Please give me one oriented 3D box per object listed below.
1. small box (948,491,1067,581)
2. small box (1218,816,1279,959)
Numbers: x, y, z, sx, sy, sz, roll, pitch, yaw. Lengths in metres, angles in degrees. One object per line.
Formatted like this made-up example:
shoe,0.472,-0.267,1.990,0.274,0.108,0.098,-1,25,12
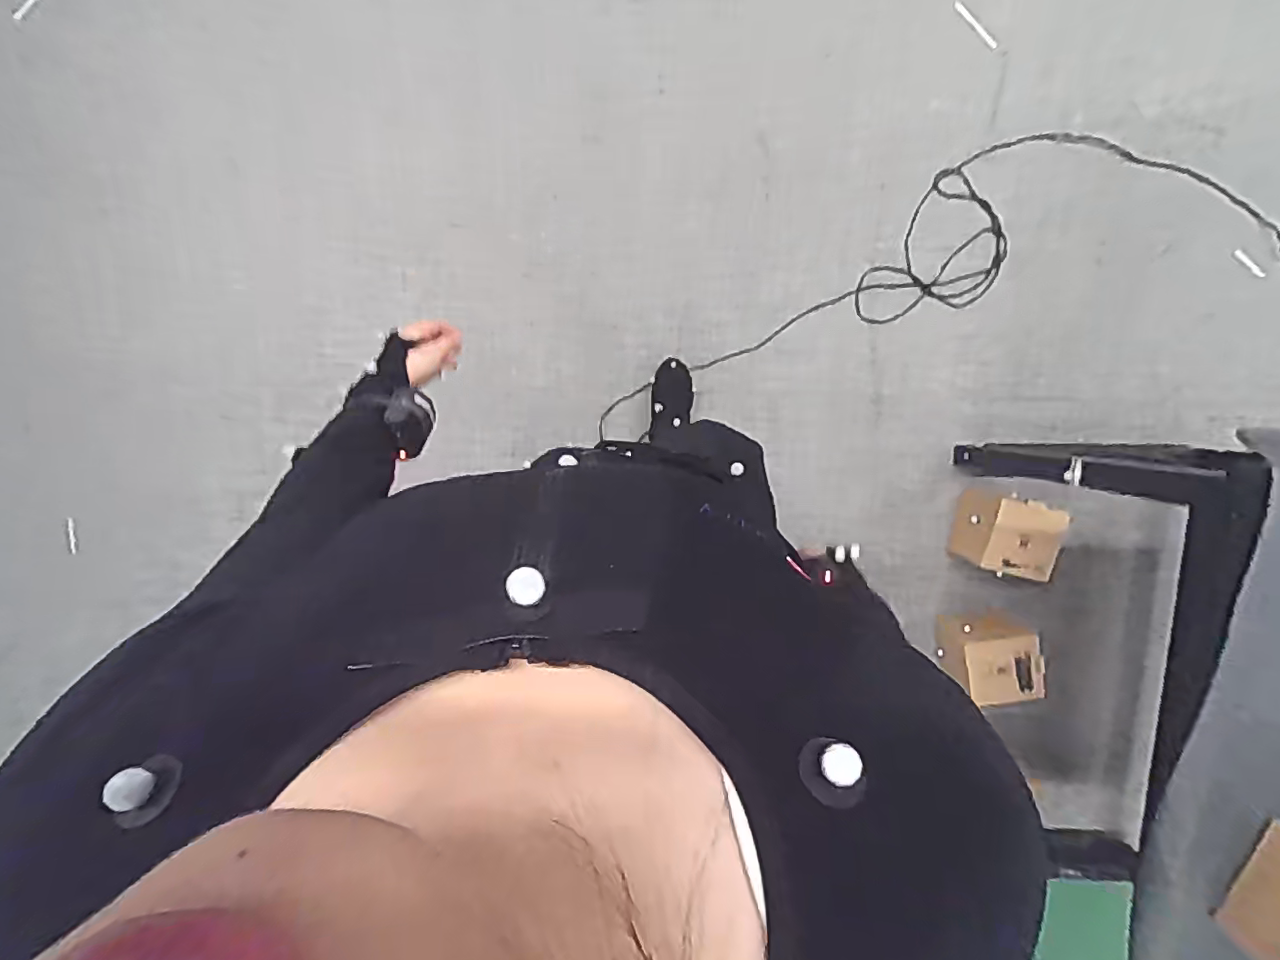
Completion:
small box,0.909,0.132,1.357,0.168,0.176,0.179,13,97,2
small box,0.906,0.576,0.677,0.168,0.176,0.179,20,96,-3
